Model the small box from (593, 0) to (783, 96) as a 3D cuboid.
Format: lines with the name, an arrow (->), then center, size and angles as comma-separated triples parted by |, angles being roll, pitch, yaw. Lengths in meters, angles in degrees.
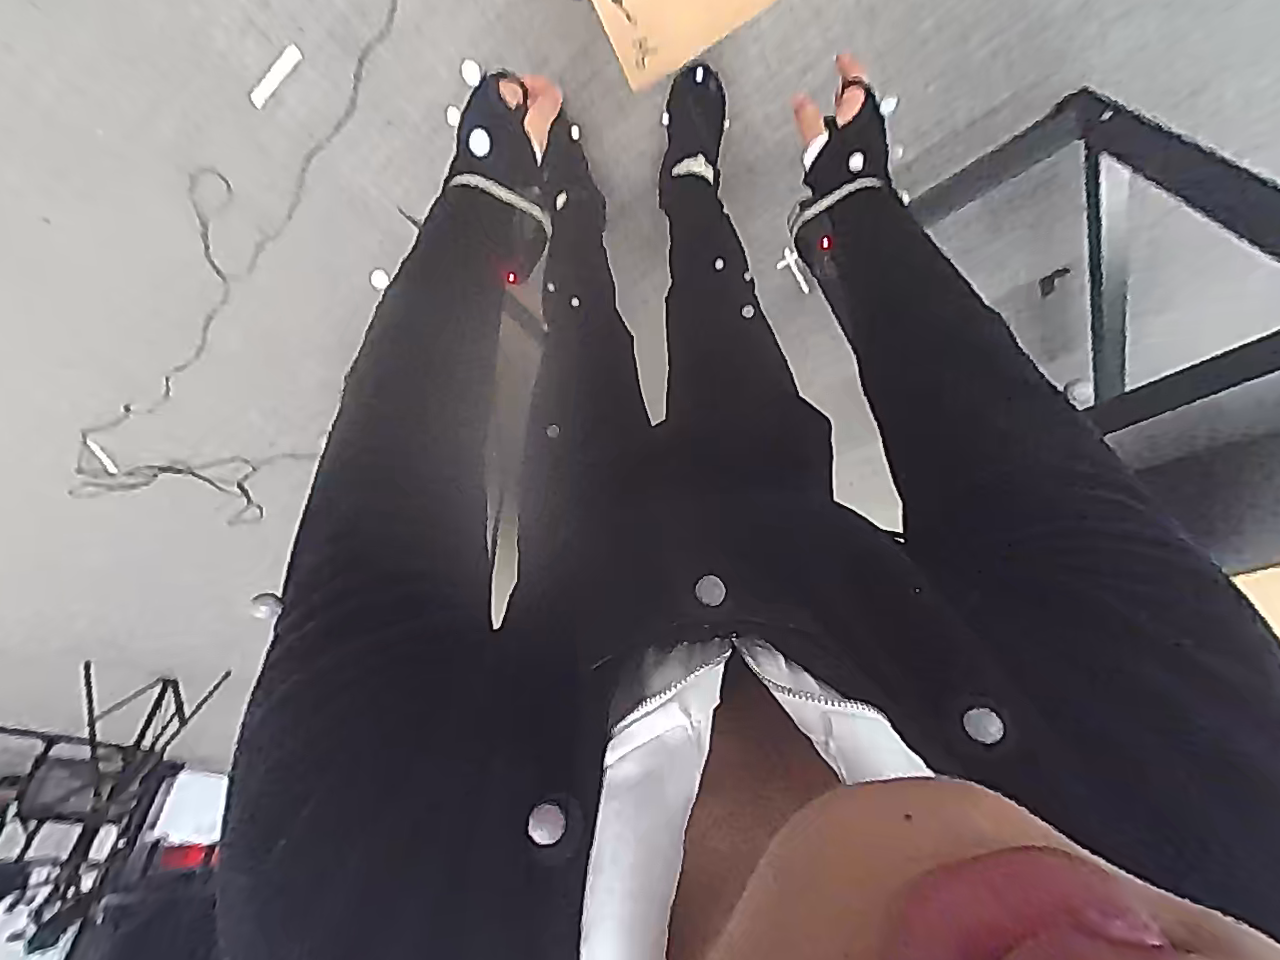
small box -> 0.027, -0.555, 0.561 | 0.179, 0.176, 0.168 | -23, 137, 18
